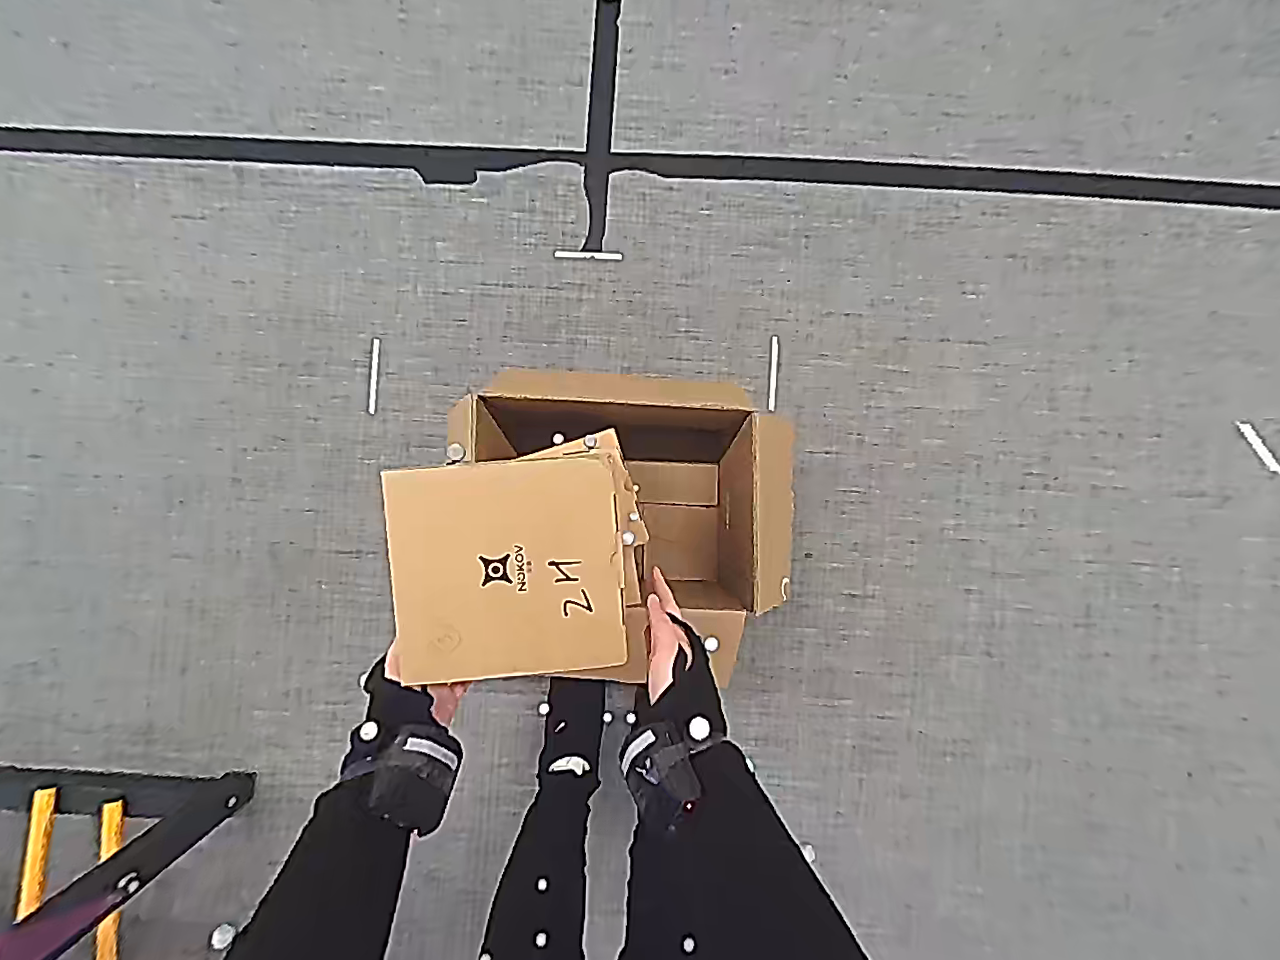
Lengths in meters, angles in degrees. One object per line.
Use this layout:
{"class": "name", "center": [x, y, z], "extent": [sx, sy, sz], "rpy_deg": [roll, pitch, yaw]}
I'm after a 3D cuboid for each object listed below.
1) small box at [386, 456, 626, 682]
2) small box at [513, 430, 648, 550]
{"class": "small box", "center": [-0.106, 0.065, 0.492], "extent": [0.179, 0.176, 0.168], "rpy_deg": [-4, 93, -5]}
{"class": "small box", "center": [-0.098, 0.031, 0.821], "extent": [0.179, 0.176, 0.168], "rpy_deg": [-18, 93, -4]}
